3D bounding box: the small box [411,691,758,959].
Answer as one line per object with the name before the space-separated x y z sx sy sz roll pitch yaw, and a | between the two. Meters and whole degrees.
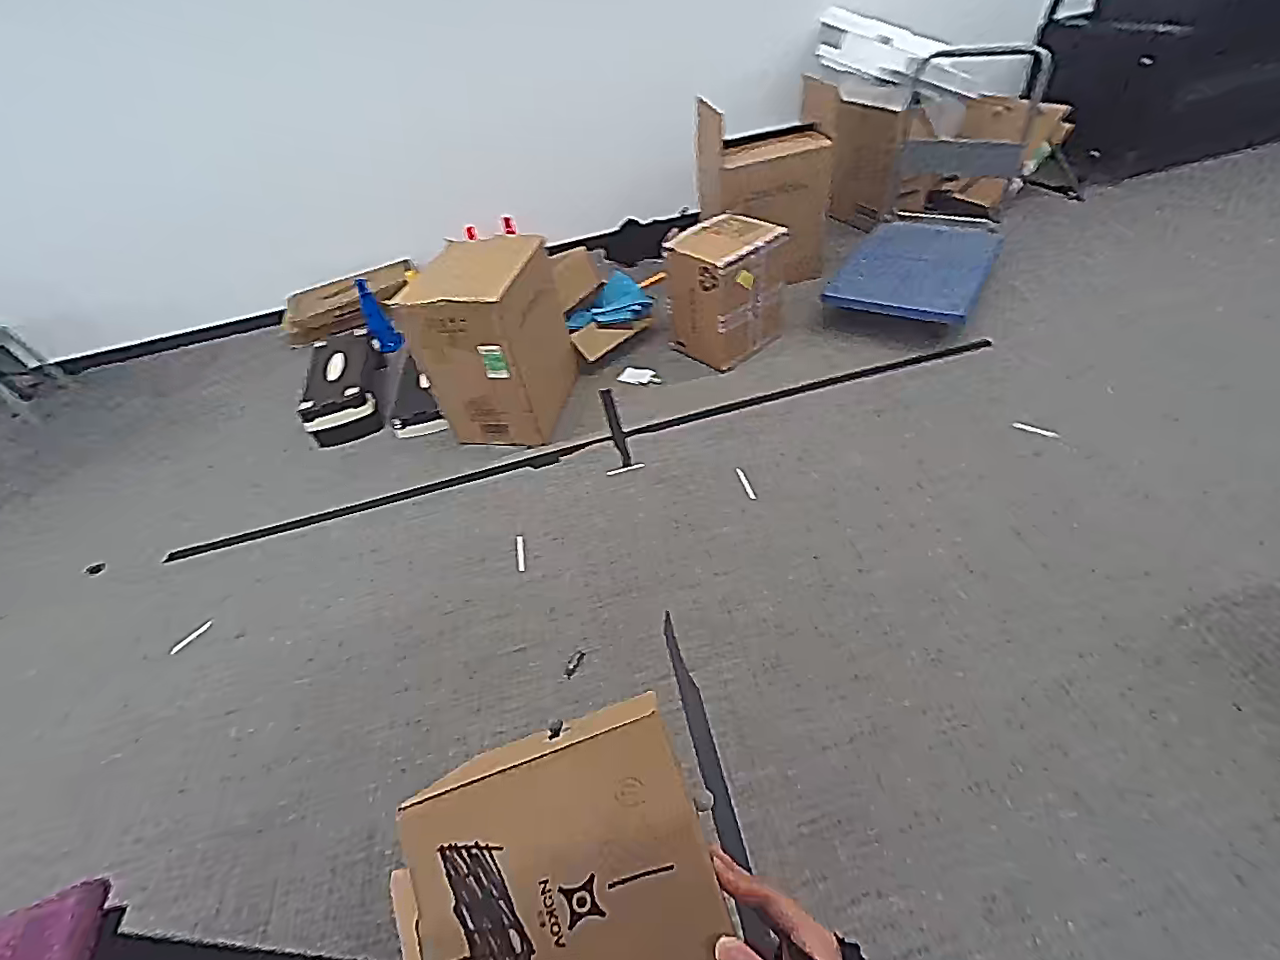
small box | -0.034 0.267 0.393 0.179 0.176 0.168 -18 74 -6
